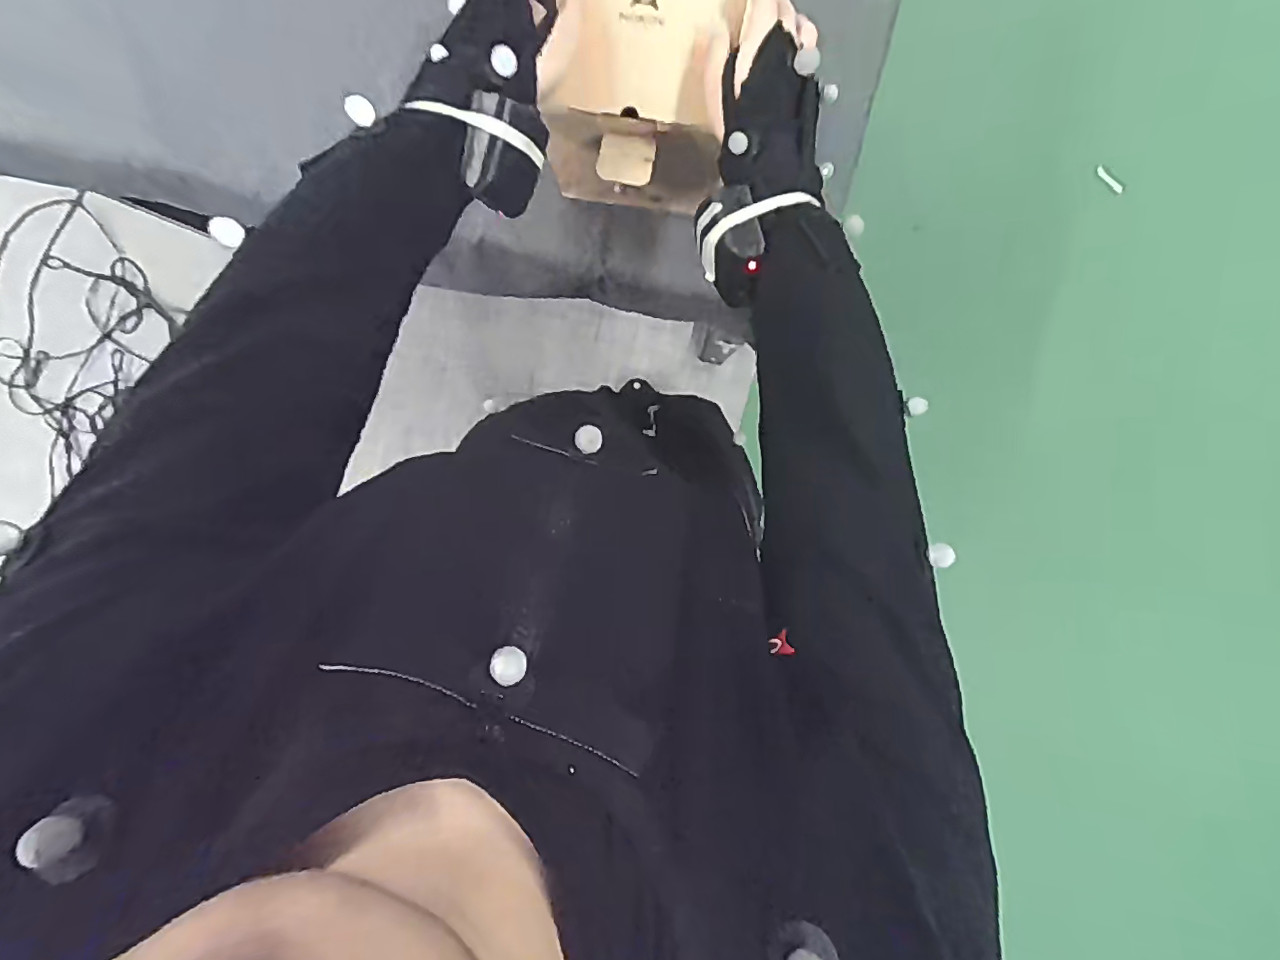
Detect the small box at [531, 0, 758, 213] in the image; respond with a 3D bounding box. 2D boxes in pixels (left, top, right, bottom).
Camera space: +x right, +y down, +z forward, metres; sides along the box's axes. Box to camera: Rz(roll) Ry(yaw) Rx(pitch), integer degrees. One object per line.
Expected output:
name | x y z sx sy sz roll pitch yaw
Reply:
small box | 0.008 -0.374 0.491 0.168 0.176 0.179 8 97 0
